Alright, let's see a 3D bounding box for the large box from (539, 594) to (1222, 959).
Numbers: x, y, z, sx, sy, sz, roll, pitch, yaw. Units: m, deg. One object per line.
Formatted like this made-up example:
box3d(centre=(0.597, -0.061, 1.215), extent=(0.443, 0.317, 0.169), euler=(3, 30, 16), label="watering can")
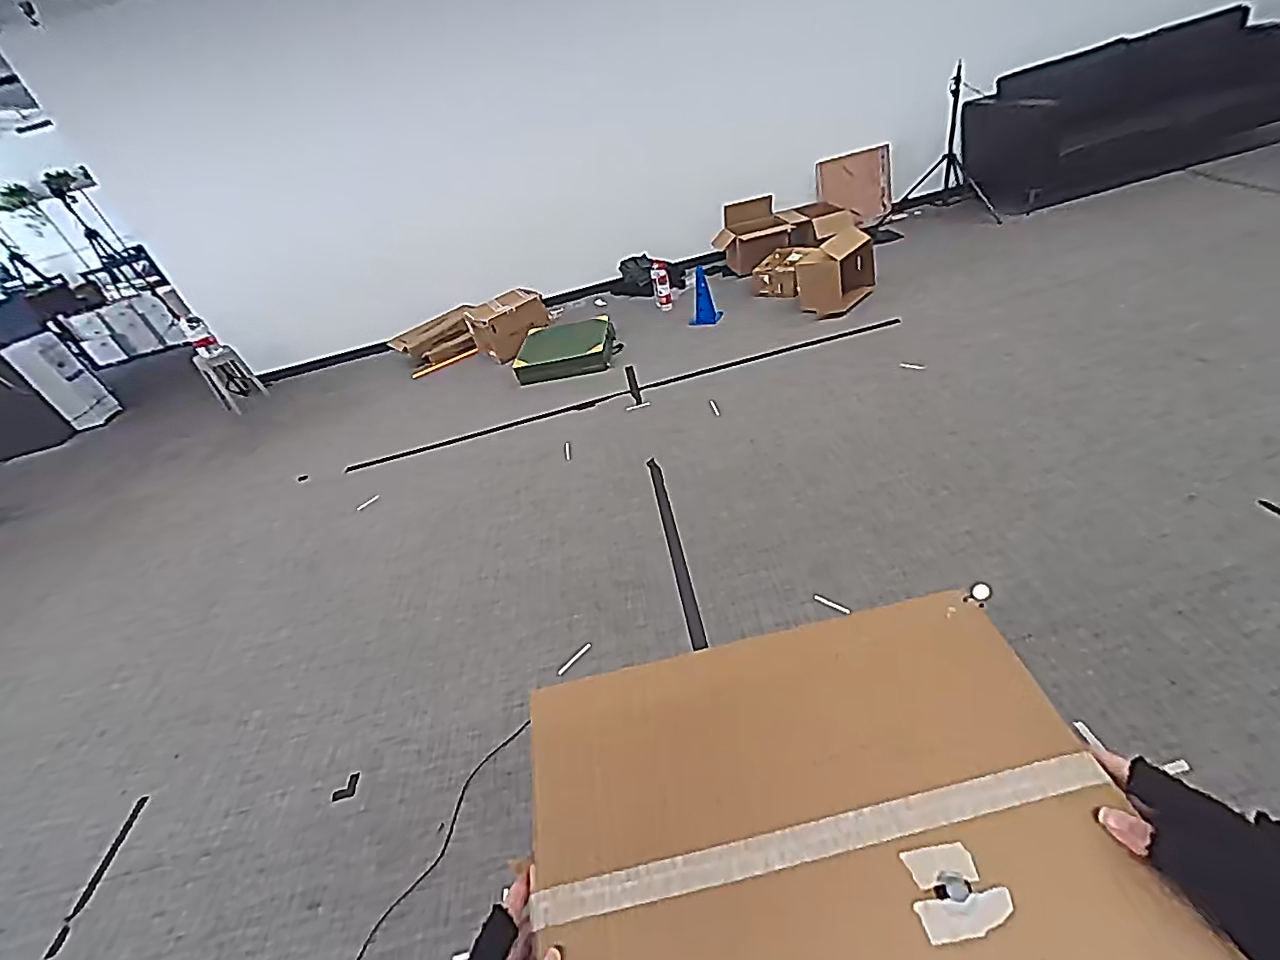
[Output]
box3d(centre=(0.148, 0.359, 0.492), extent=(0.408, 0.320, 0.320), euler=(-13, 45, -2), label="large box")
